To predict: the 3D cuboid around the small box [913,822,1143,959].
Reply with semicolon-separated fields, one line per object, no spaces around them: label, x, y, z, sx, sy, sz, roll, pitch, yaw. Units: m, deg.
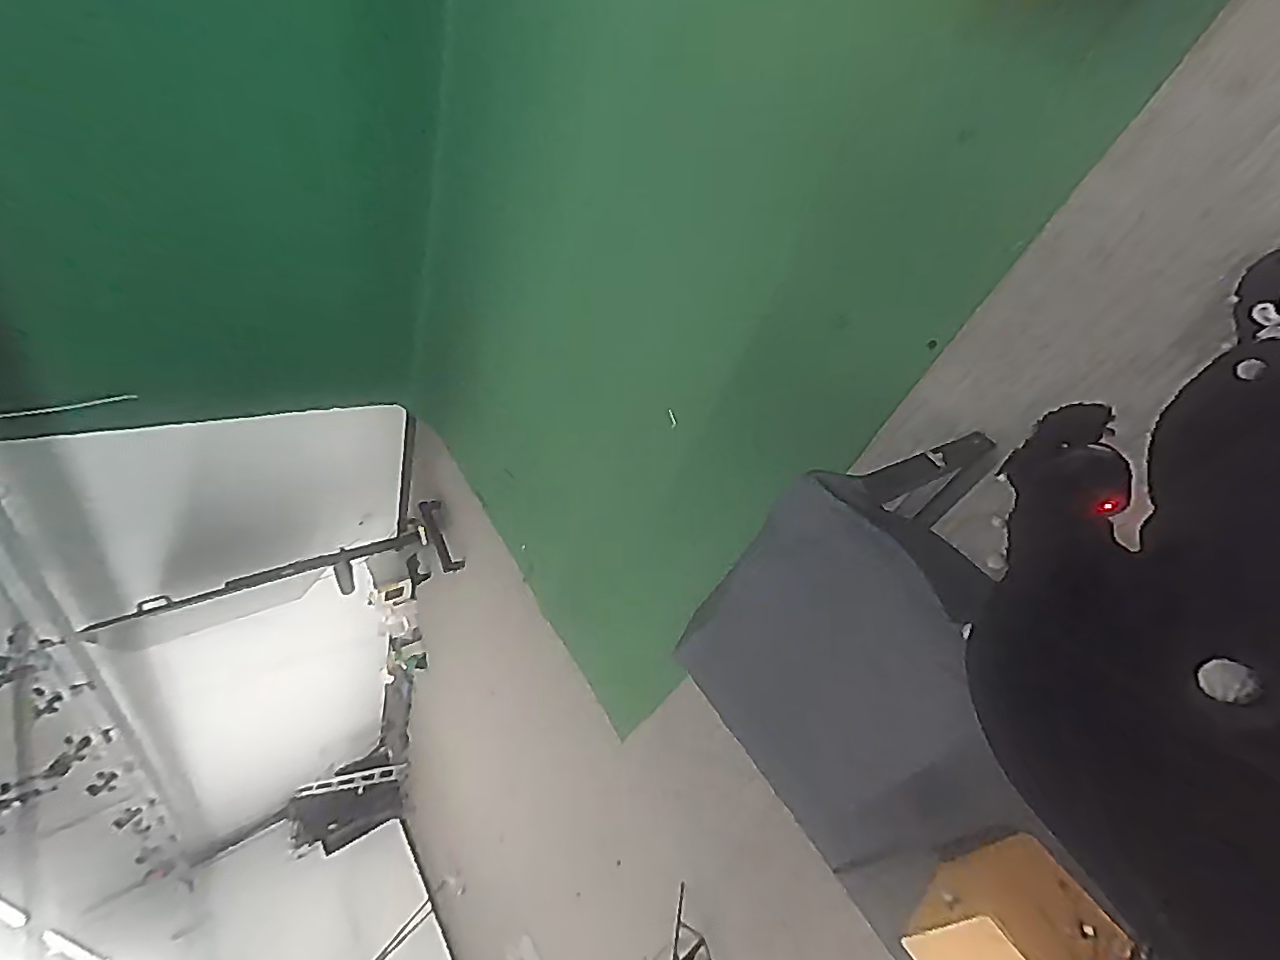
small box;0.525;0.612;0.736;0.168;0.176;0.179;50;135;29
